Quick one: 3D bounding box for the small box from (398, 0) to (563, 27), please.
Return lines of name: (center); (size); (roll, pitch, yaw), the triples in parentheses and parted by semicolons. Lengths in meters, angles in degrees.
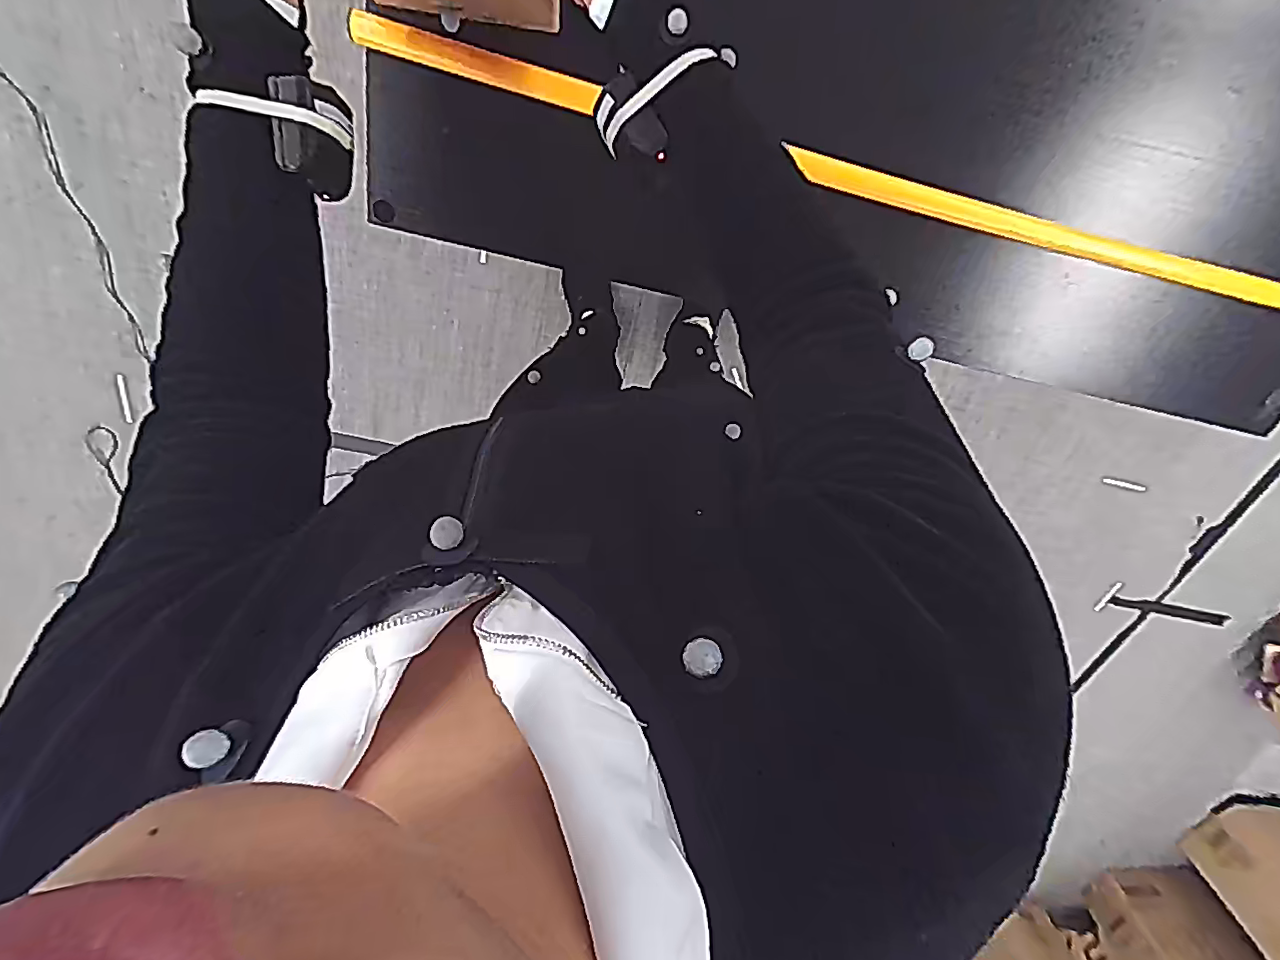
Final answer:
small box: (-0.140, -0.469, 0.393); (0.168, 0.176, 0.179); (4, 121, -6)
